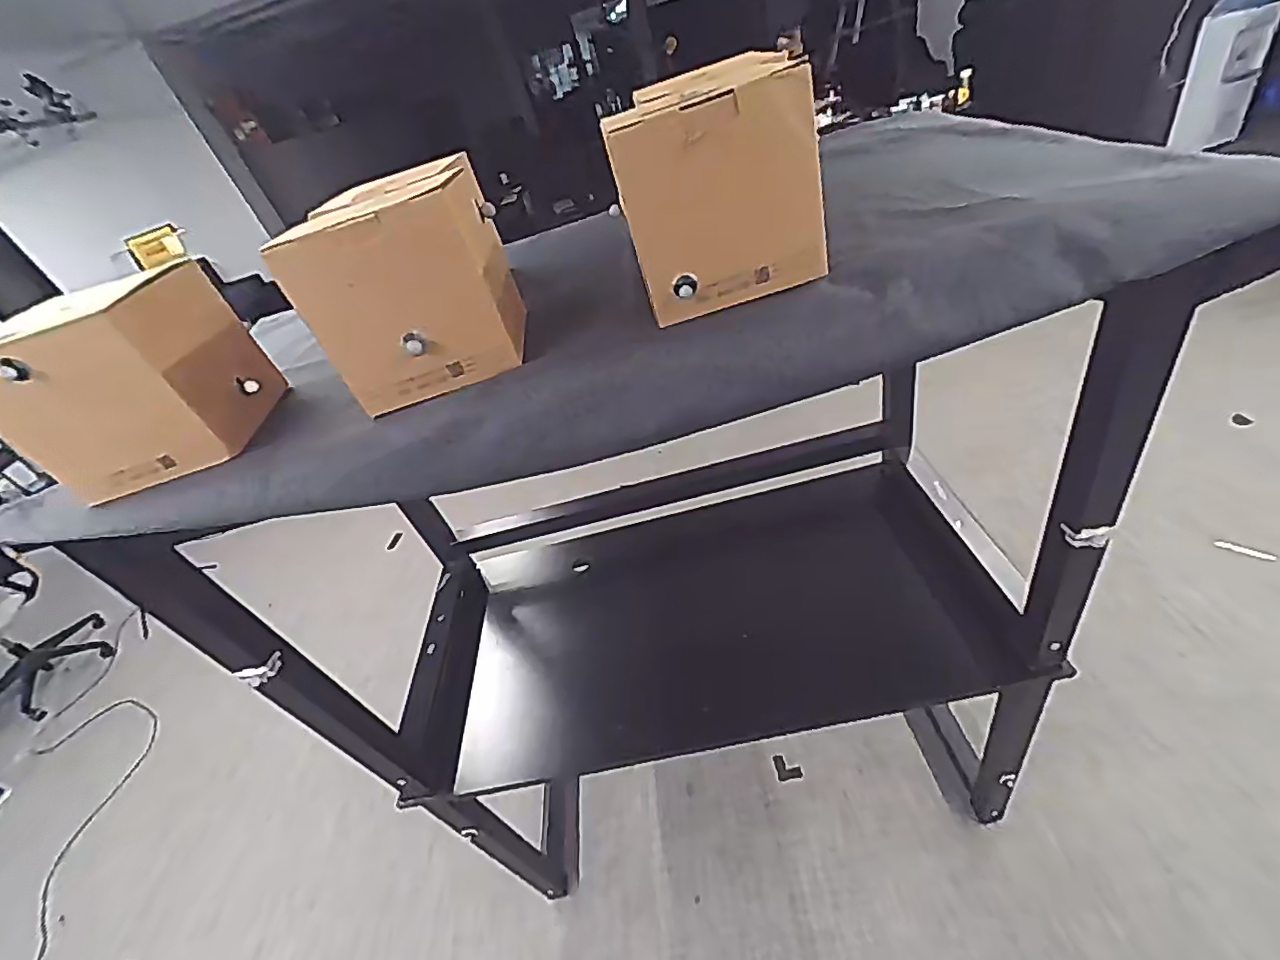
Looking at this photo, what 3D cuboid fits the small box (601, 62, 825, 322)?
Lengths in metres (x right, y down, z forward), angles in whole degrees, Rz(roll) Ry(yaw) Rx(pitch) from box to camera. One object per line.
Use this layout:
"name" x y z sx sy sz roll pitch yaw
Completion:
"small box" 0.067 -0.271 0.522 0.168 0.176 0.179 -16 36 6

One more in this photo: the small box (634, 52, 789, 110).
"small box" 0.095 -0.420 0.695 0.168 0.176 0.179 -15 39 7

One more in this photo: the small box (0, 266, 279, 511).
"small box" -0.528 -0.098 0.570 0.168 0.176 0.179 -19 38 1
